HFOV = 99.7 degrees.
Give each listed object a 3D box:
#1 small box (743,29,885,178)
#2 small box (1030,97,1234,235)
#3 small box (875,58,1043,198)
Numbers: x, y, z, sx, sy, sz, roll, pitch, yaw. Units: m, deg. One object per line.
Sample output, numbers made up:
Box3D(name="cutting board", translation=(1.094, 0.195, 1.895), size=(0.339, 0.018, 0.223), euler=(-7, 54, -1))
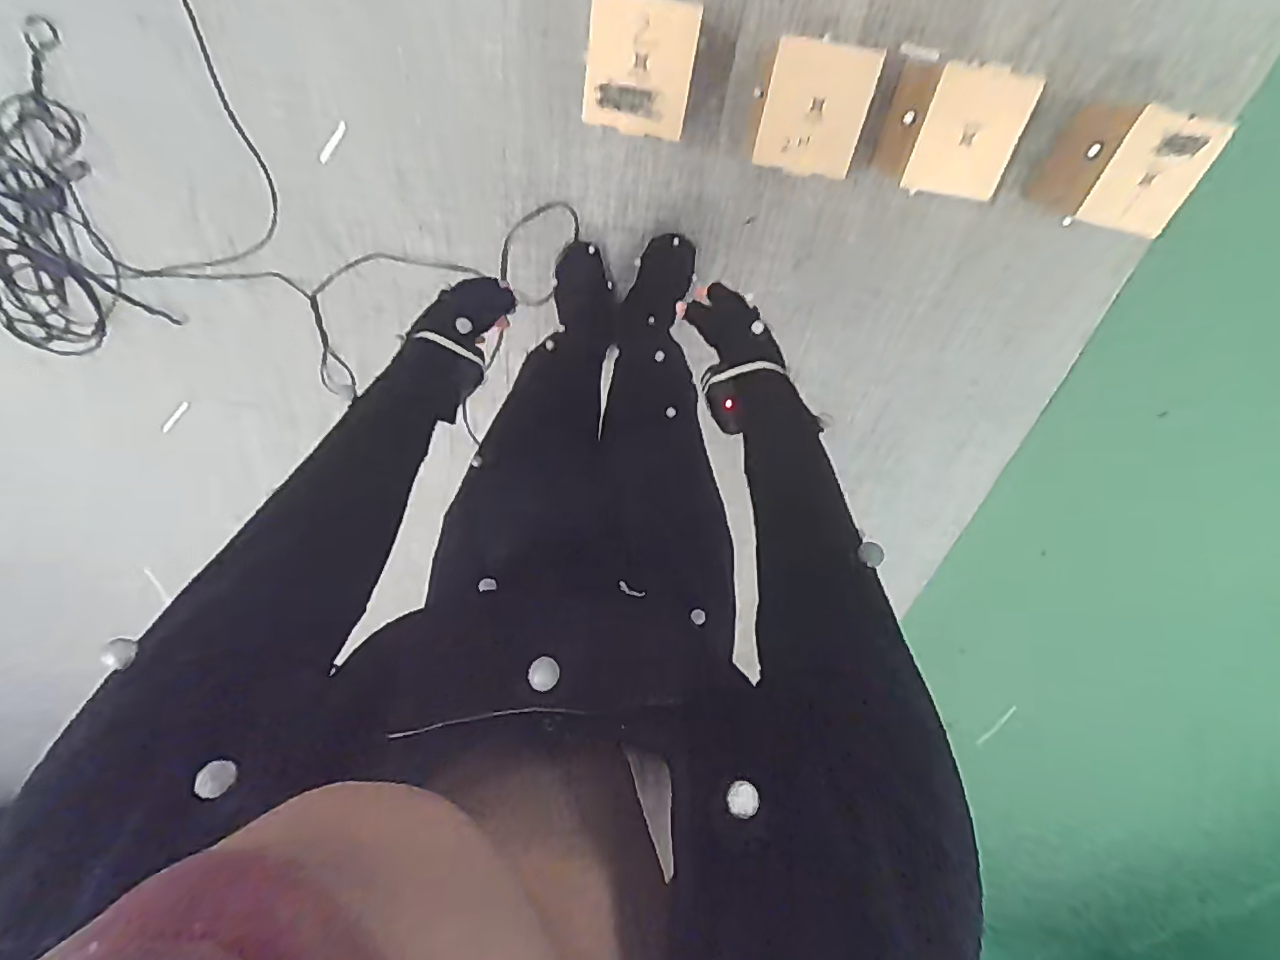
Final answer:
Box3D(name="small box", translation=(0.282, -0.641, 0.927), size=(0.168, 0.176, 0.179), euler=(8, 126, -3))
Box3D(name="small box", translation=(0.857, -0.566, 0.969), size=(0.168, 0.176, 0.179), euler=(10, 127, -6))
Box3D(name="small box", translation=(0.536, -0.614, 0.944), size=(0.168, 0.176, 0.179), euler=(6, 126, -4))
